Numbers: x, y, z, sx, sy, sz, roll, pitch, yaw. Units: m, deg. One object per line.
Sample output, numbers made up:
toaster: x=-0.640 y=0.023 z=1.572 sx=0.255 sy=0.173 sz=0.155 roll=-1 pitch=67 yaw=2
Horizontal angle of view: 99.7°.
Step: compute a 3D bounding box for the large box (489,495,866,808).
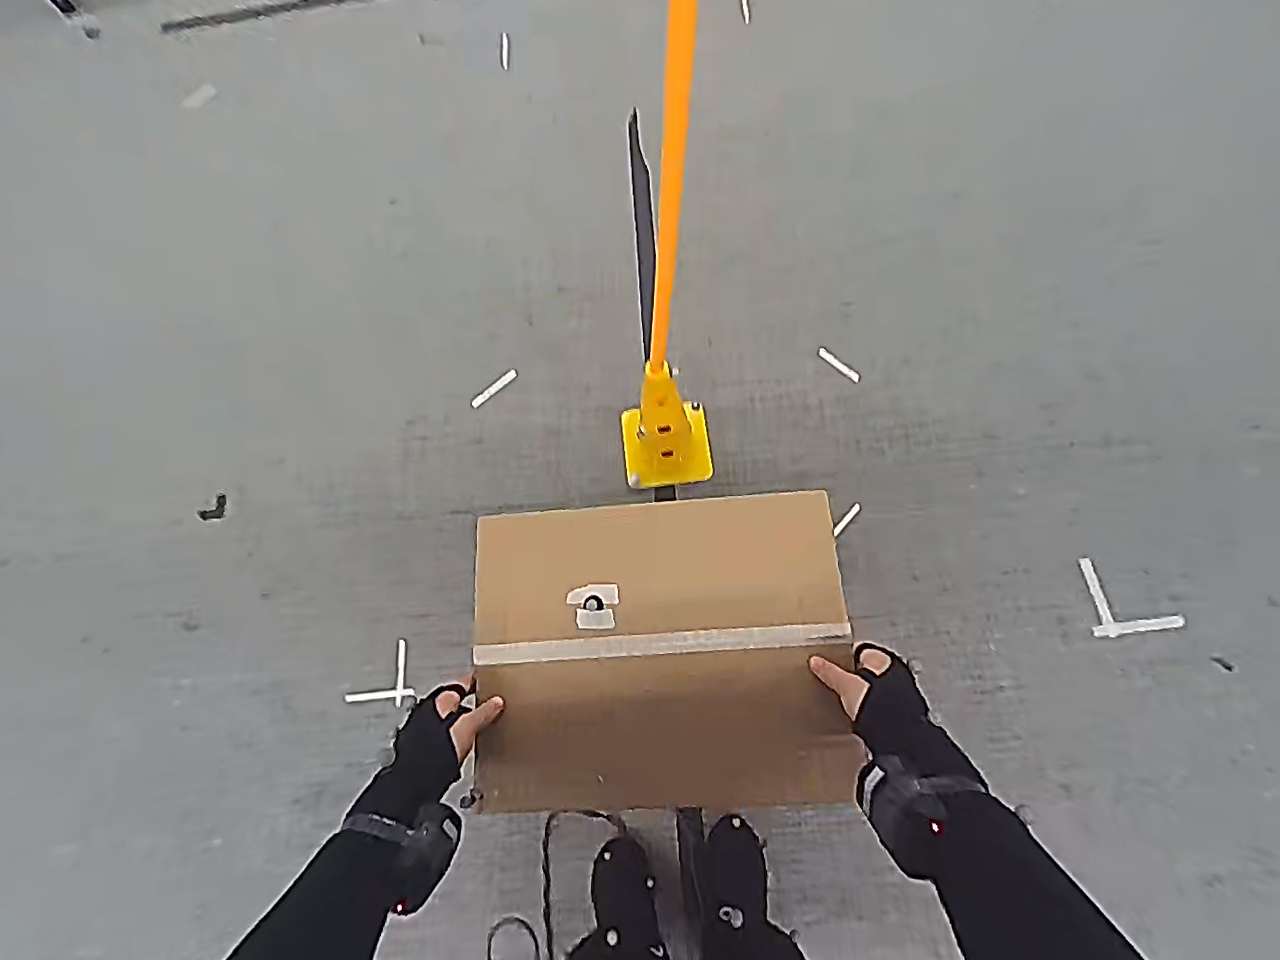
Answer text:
large box: x=0.042 y=0.225 z=0.748 sx=0.408 sy=0.320 sz=0.320 roll=-6 pitch=73 yaw=6
